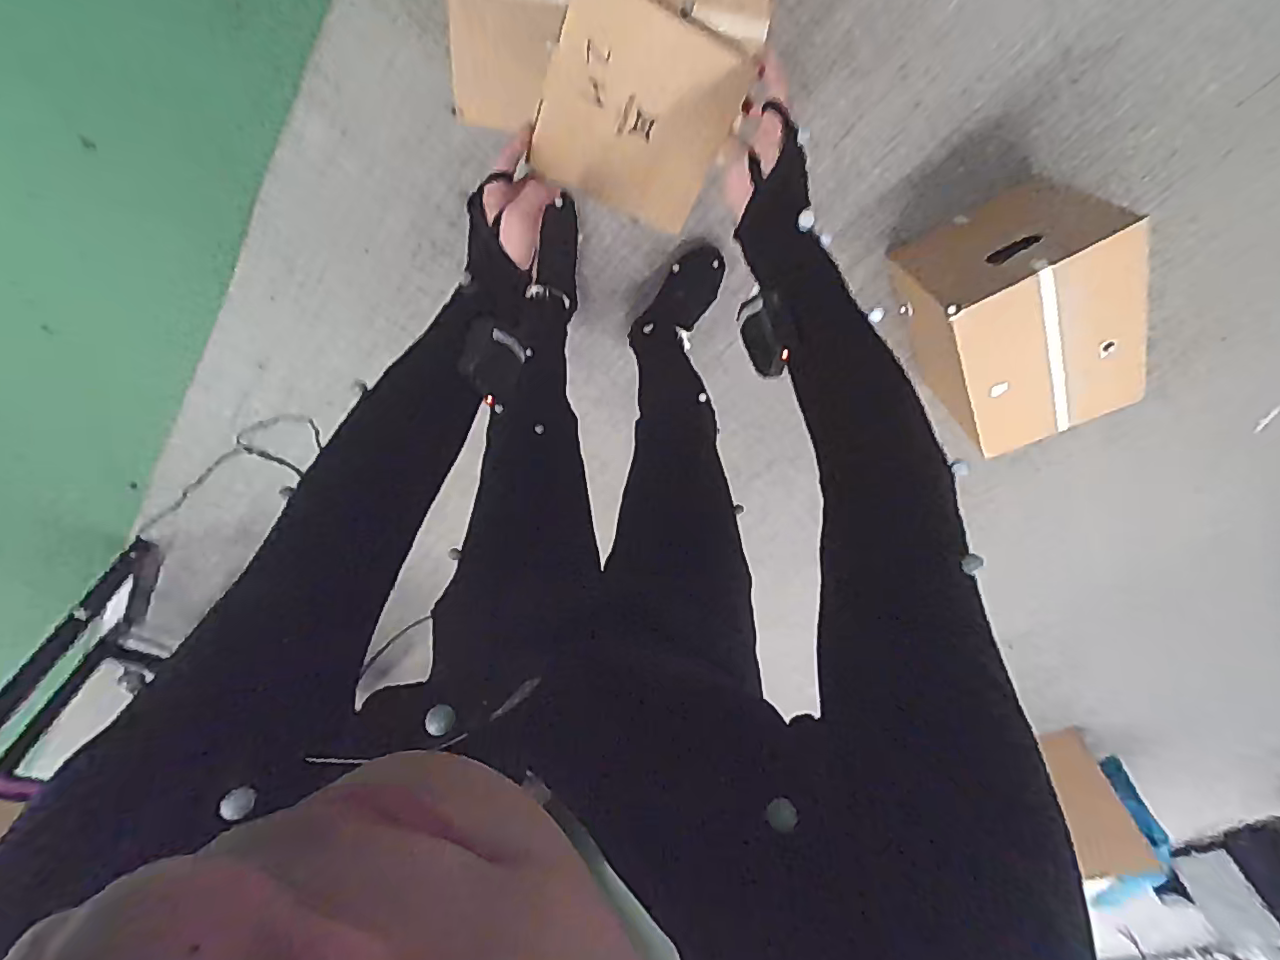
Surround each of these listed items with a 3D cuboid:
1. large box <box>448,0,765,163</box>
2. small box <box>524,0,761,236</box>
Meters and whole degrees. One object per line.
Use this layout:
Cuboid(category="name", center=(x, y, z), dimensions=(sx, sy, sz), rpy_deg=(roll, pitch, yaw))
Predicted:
Cuboid(category="large box", center=(-0.043, -0.694, 0.796), dimensions=(0.408, 0.320, 0.320), rpy_deg=(5, 129, -6))
Cuboid(category="small box", center=(-0.003, -0.395, 0.561), dimensions=(0.179, 0.176, 0.168), rpy_deg=(18, 132, -18))
